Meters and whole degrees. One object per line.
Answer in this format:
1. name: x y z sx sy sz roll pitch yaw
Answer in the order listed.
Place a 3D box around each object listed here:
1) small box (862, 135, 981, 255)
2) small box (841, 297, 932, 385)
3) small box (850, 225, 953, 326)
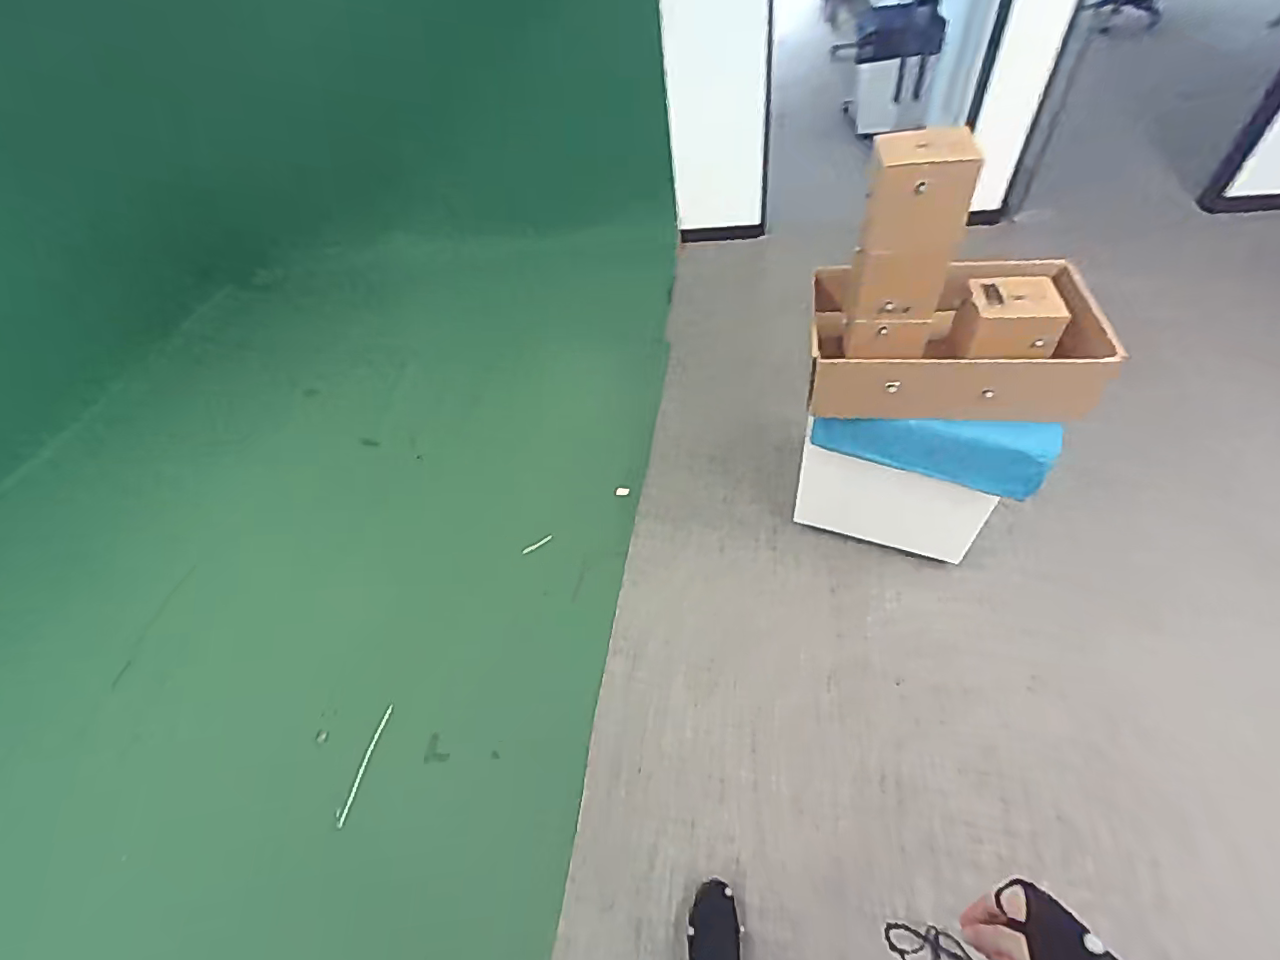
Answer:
1. small box: 0.557 -0.572 1.098 0.179 0.176 0.168 3 50 13
2. small box: 0.601 -0.358 1.341 0.168 0.176 0.179 3 49 12
3. small box: 0.579 -0.469 1.224 0.168 0.176 0.179 3 50 12
